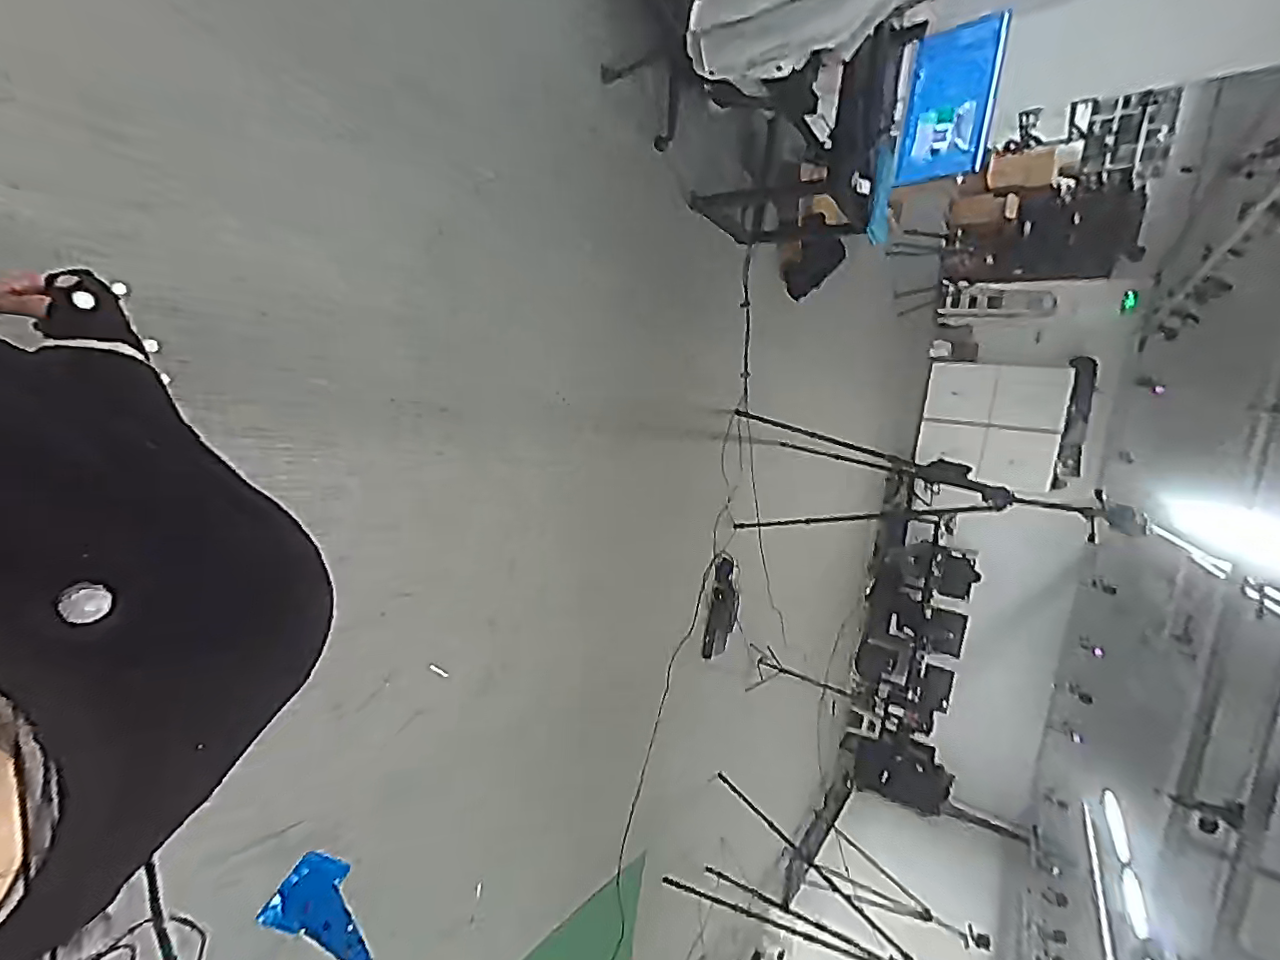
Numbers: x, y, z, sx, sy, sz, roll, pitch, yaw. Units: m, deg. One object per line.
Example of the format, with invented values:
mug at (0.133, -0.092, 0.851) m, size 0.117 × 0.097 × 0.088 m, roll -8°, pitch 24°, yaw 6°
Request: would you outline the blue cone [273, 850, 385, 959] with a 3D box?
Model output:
blue cone at (-0.860, 1.265, 1.560) m, size 0.193 × 0.380 × 0.192 m, roll -58°, pitch 139°, yaw -31°
